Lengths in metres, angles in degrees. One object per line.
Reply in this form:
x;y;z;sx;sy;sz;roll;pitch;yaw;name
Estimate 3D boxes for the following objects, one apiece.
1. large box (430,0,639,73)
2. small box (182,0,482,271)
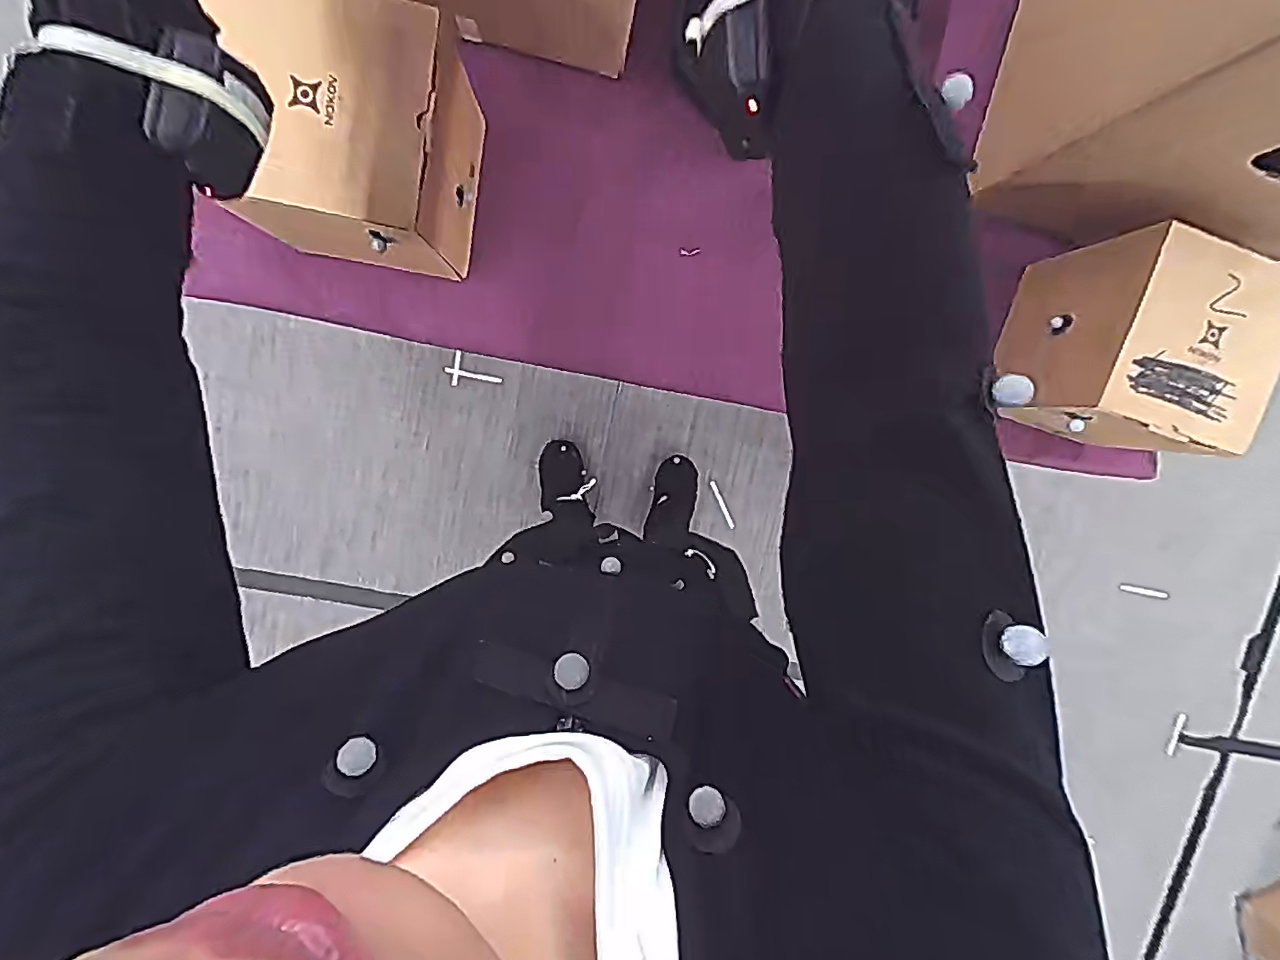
-0.115;-0.619;0.381;0.320;0.320;0.408;9;100;-6;large box
-0.254;-0.302;0.485;0.179;0.176;0.168;8;97;-7;small box
